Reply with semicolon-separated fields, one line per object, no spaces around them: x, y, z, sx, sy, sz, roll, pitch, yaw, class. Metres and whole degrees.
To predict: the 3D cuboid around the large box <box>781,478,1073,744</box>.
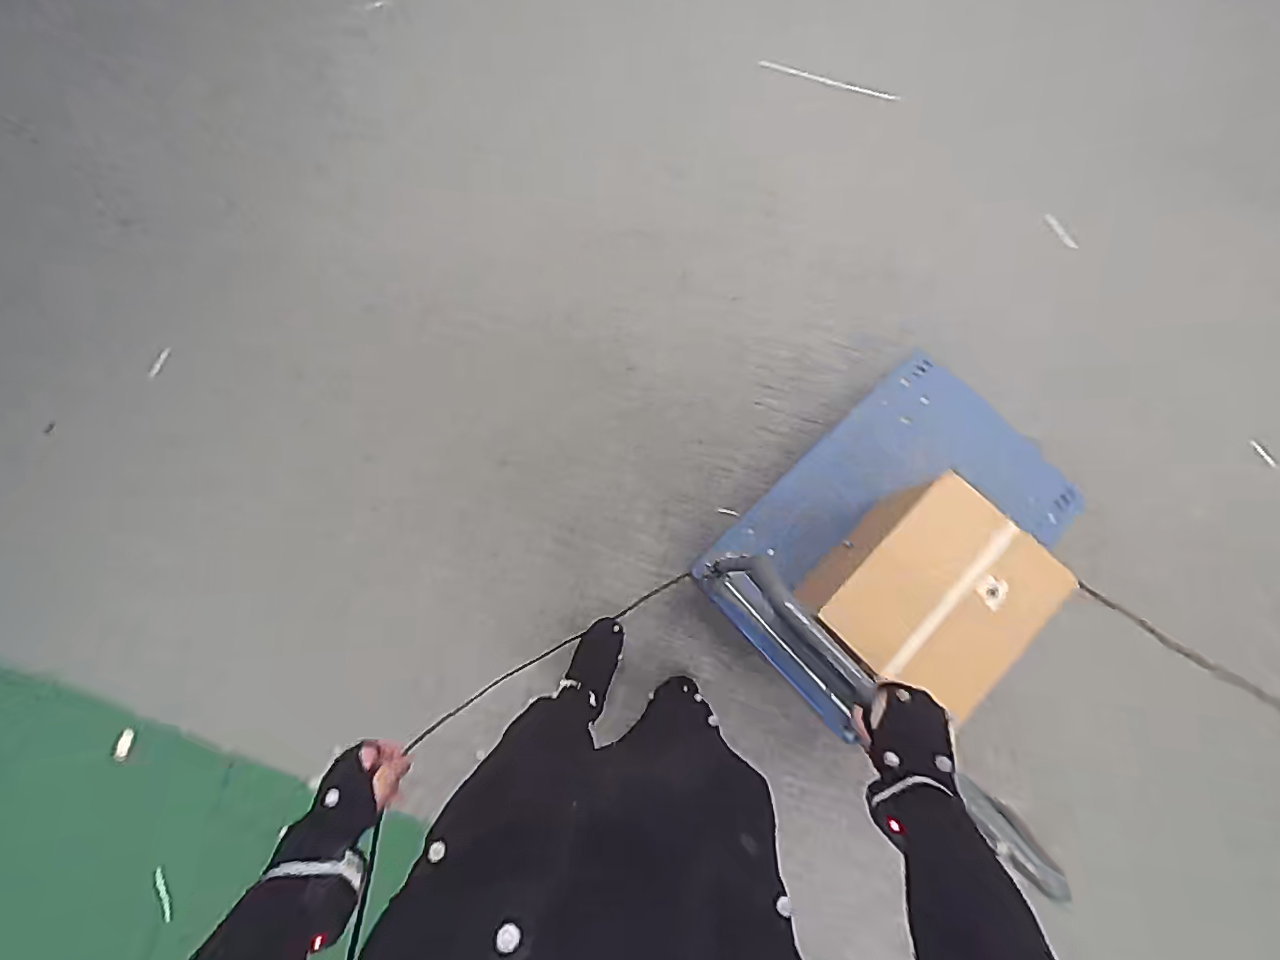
0.575;0.269;1.158;0.408;0.320;0.320;-43;81;-9;large box
